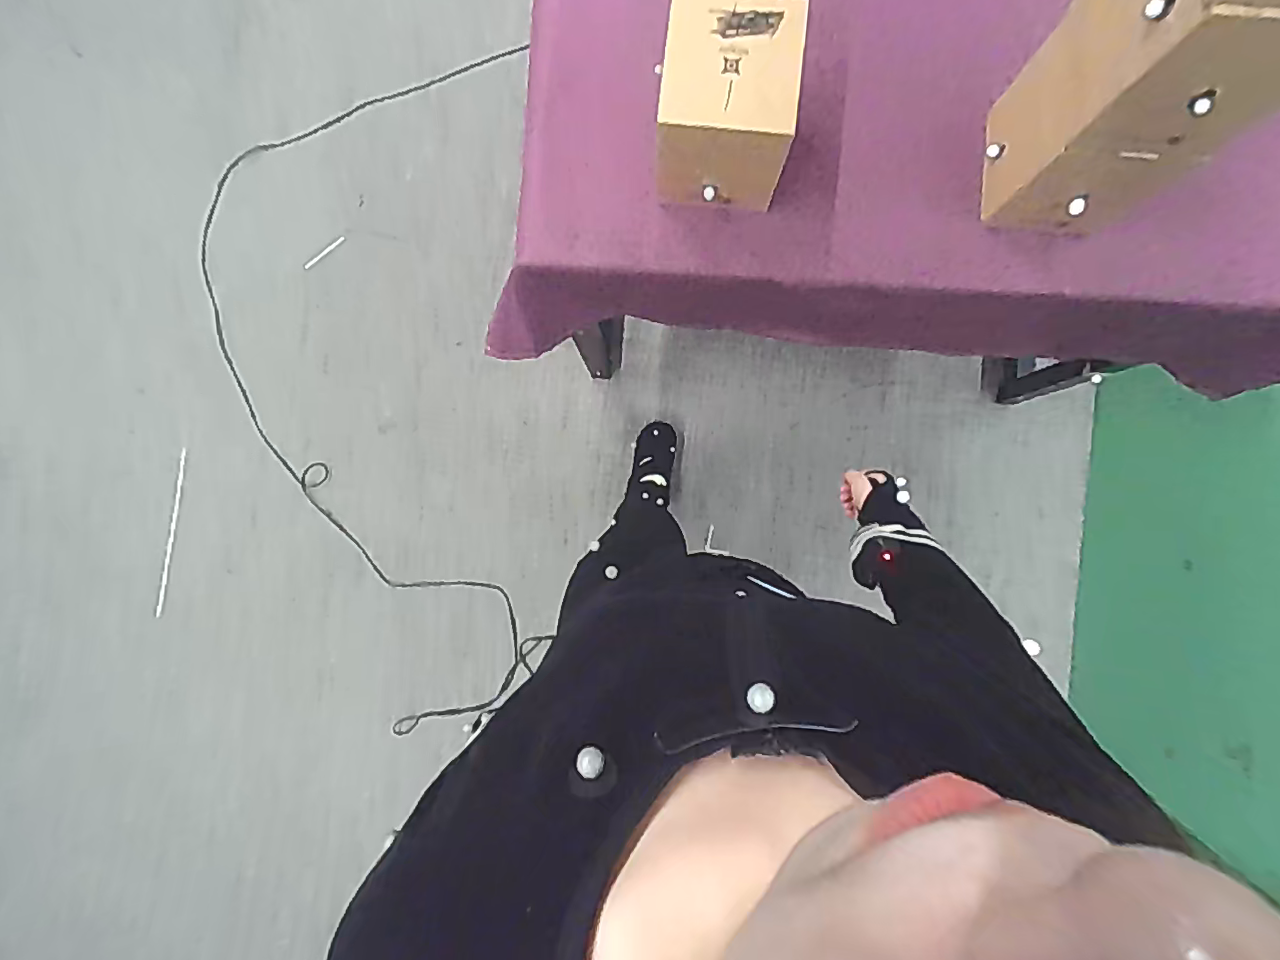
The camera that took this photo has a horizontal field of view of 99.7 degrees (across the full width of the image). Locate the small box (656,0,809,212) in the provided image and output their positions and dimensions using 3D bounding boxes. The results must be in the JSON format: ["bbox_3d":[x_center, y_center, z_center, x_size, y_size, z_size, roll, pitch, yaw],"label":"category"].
[{"bbox_3d":[0.112,-0.493,0.720,0.168,0.176,0.179,7,88,2],"label":"small box"}]

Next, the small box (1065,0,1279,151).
[{"bbox_3d":[0.568,-0.464,0.539,0.168,0.176,0.179,5,87,2],"label":"small box"}]

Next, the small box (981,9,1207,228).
[{"bbox_3d":[0.577,-0.454,0.704,0.168,0.176,0.179,5,87,2],"label":"small box"}]
